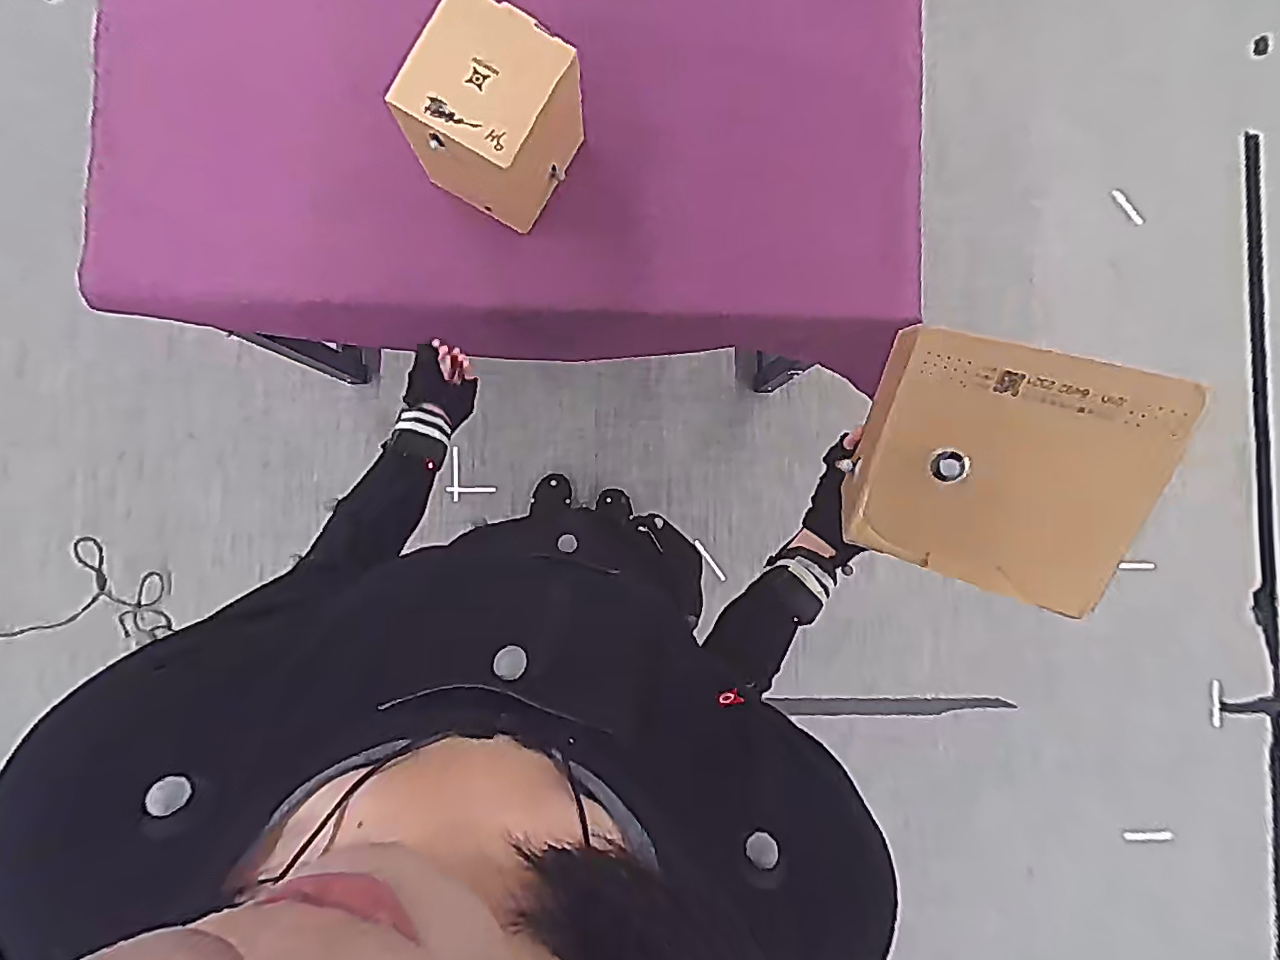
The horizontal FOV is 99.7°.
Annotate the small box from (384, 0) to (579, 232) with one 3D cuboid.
[{"bbox_3d":[-0.193,-0.474,0.713,0.168,0.176,0.179,29,86,-2],"label":"small box"}]

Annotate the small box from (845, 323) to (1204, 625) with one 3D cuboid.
[{"bbox_3d":[0.275,-0.022,0.428,0.168,0.179,0.176,20,109,15],"label":"small box"}]
